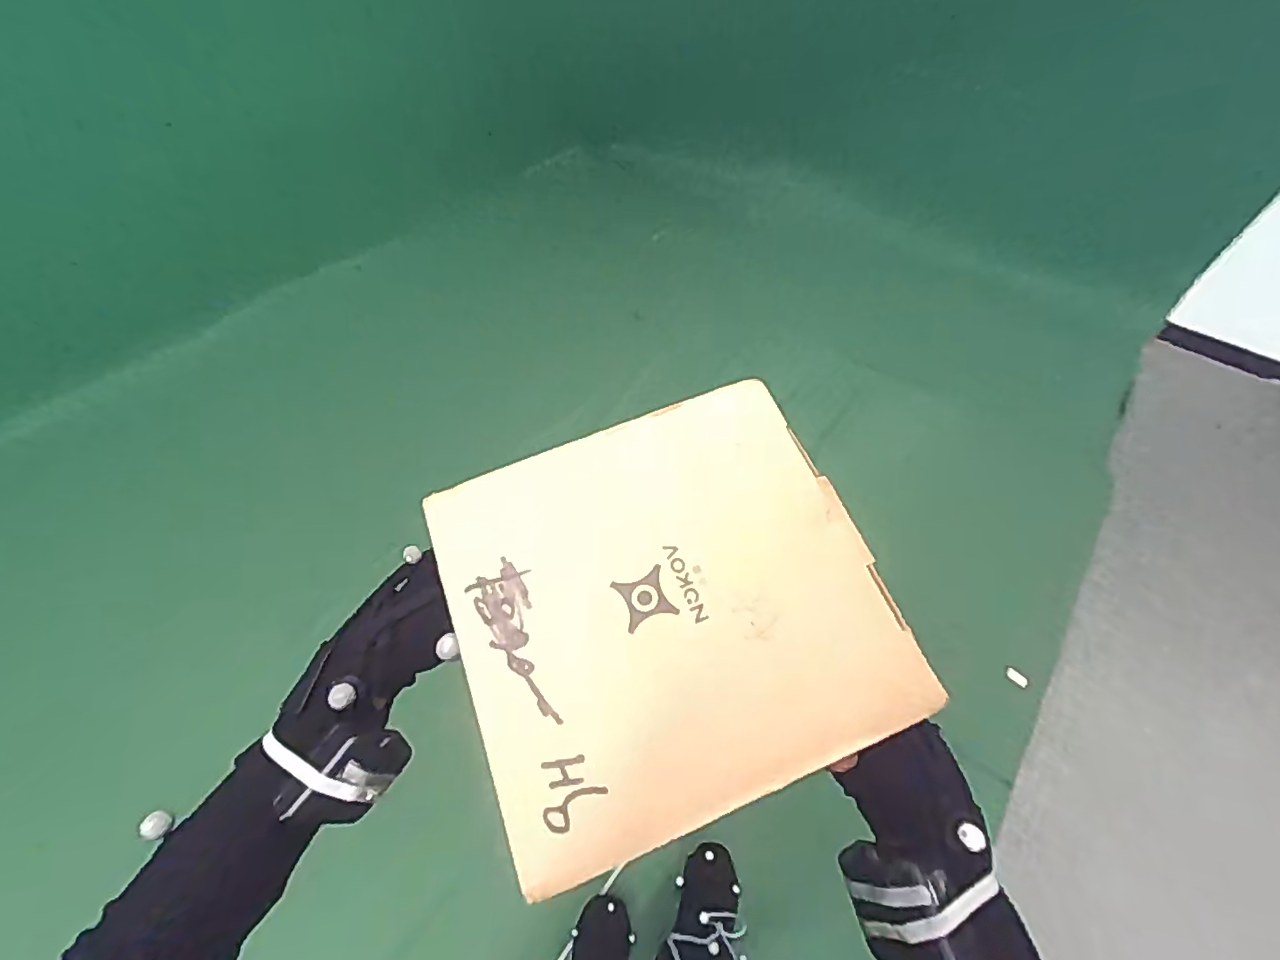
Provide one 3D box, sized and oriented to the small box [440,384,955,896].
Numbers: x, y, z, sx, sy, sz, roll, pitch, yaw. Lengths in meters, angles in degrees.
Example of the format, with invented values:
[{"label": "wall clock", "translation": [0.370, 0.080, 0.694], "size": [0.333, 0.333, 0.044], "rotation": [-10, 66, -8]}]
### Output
[{"label": "small box", "translation": [0.016, 0.079, 0.300], "size": [0.179, 0.176, 0.168], "rotation": [-19, 67, -8]}]
